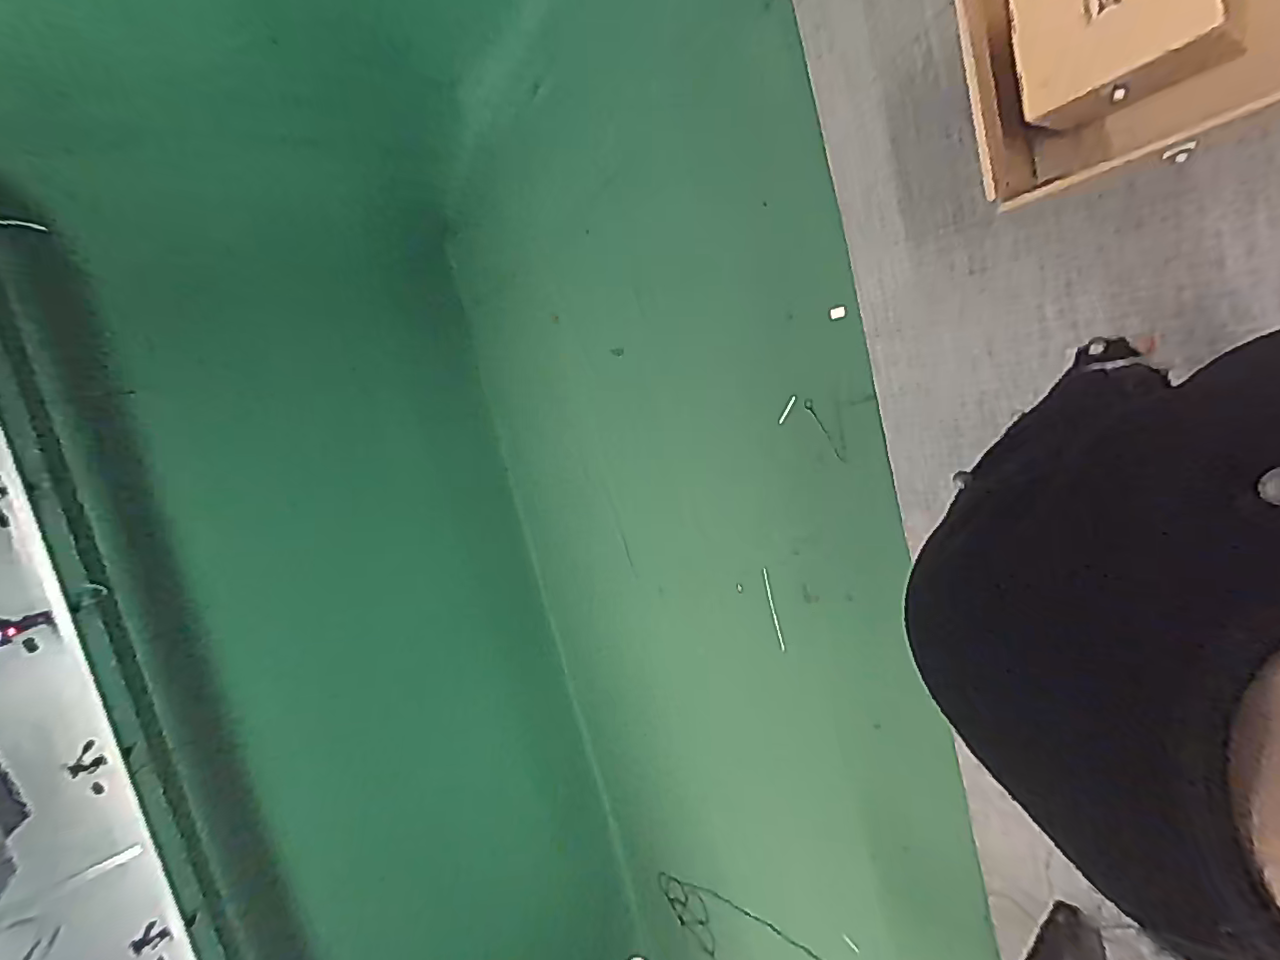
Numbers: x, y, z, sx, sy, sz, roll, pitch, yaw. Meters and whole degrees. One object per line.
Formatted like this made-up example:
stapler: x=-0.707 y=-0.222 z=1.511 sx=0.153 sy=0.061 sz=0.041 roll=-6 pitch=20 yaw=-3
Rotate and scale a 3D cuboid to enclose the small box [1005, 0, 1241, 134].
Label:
small box: x=0.579 y=-0.549 z=0.653 sx=0.179 sy=0.176 sz=0.168 roll=-1 pitch=105 yaw=55
